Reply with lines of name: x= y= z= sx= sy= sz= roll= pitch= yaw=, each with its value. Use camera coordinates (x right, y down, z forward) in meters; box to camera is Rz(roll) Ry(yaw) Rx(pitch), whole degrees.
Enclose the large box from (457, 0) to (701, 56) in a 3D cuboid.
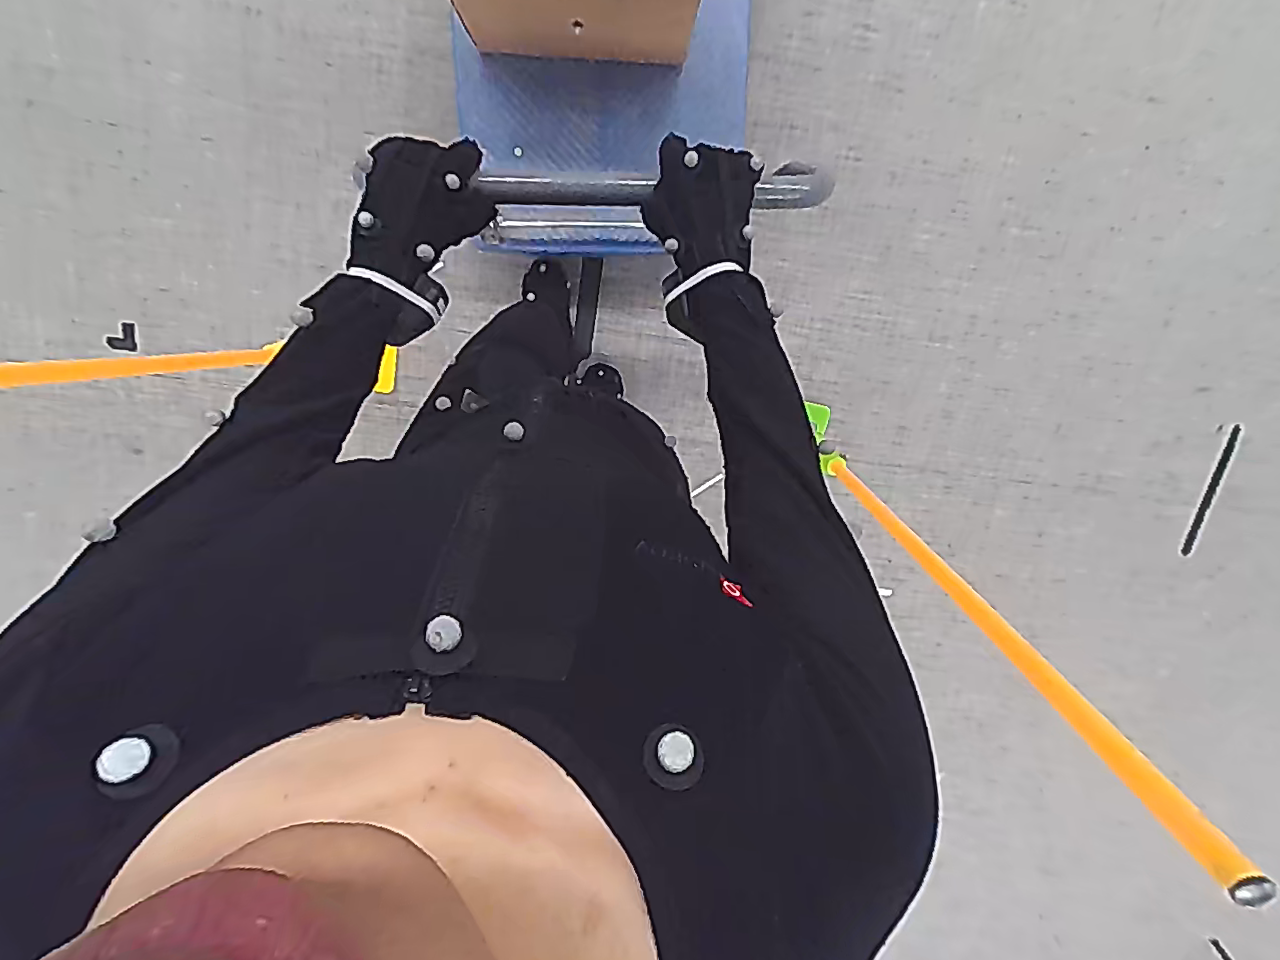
large box: x=-0.098 y=-0.933 z=0.871 sx=0.408 sy=0.320 sz=0.320 roll=2 pitch=107 yaw=-2
